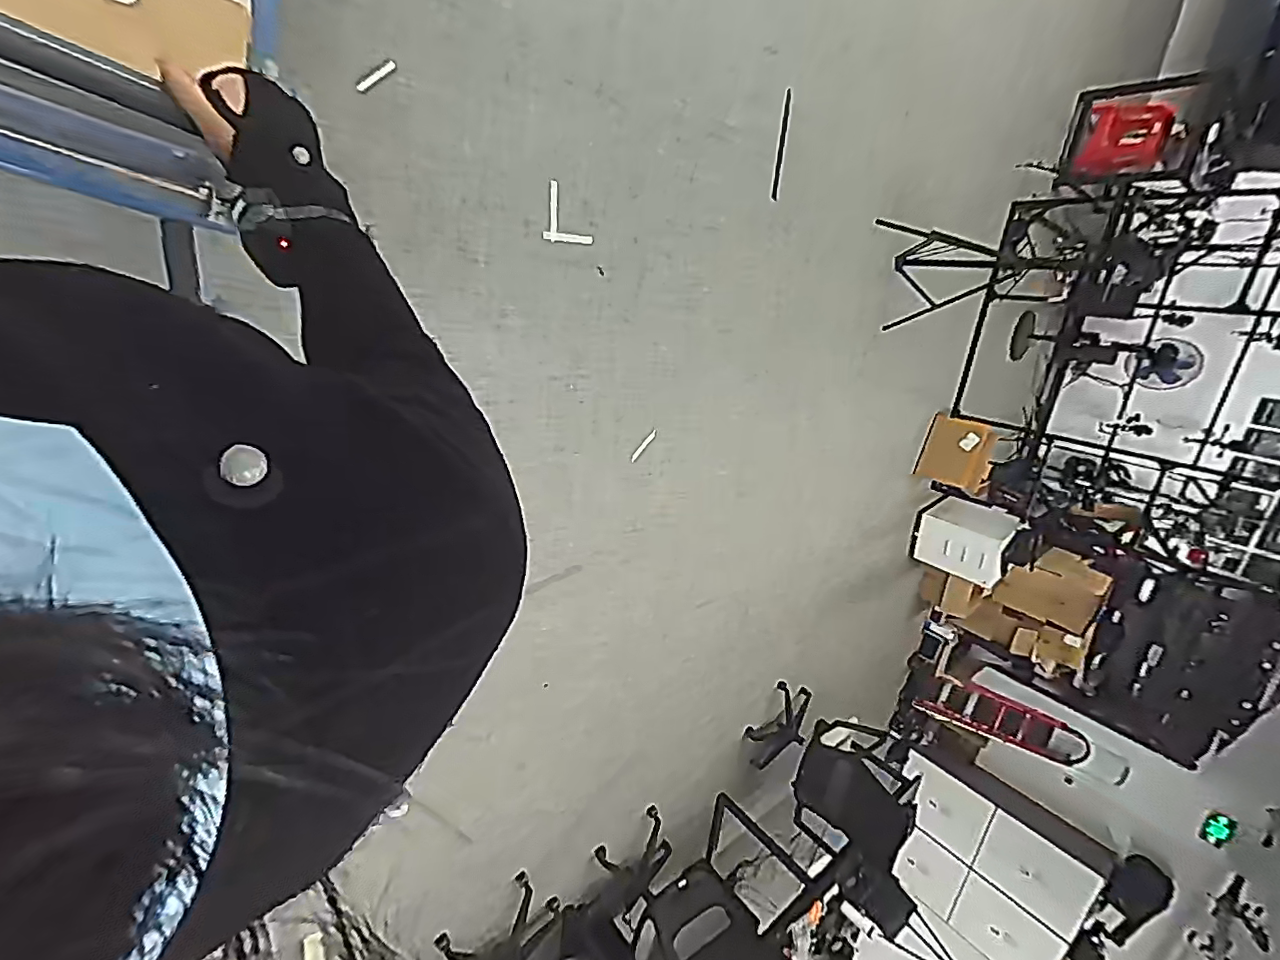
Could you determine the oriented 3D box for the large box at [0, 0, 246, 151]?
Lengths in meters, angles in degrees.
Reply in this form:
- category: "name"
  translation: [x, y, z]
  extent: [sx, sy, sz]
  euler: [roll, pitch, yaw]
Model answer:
- category: "large box"
  translation: [-0.769, -0.675, 0.684]
  extent: [0.408, 0.320, 0.320]
  euler: [-1, 109, -44]
